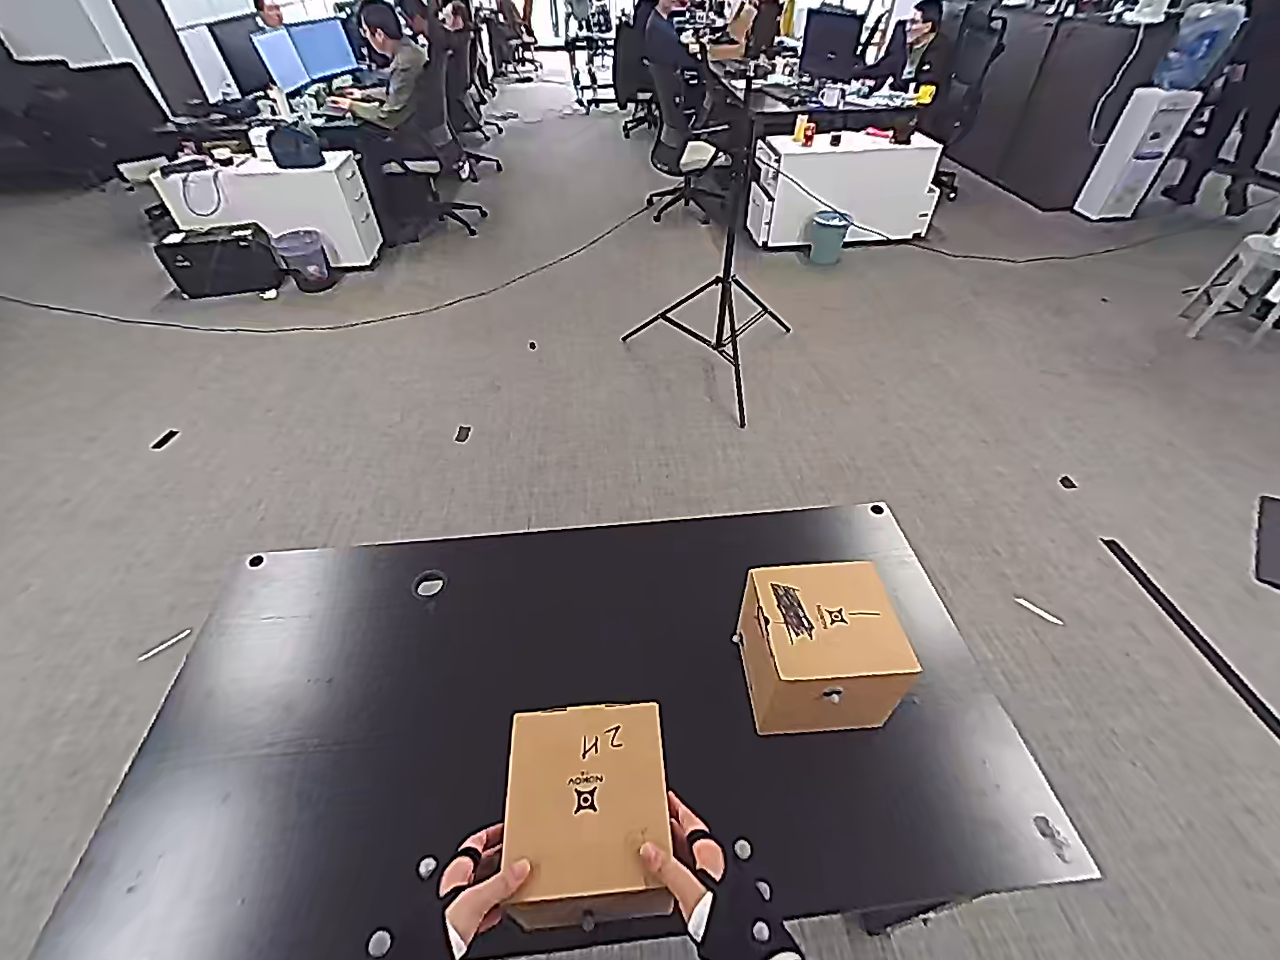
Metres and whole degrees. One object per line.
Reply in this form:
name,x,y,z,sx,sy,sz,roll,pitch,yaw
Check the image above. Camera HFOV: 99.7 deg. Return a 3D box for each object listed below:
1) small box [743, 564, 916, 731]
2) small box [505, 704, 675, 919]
small box,0.247,0.238,0.762,0.179,0.176,0.168,-3,44,-2
small box,-0.050,0.383,0.621,0.168,0.176,0.179,-4,44,-3
